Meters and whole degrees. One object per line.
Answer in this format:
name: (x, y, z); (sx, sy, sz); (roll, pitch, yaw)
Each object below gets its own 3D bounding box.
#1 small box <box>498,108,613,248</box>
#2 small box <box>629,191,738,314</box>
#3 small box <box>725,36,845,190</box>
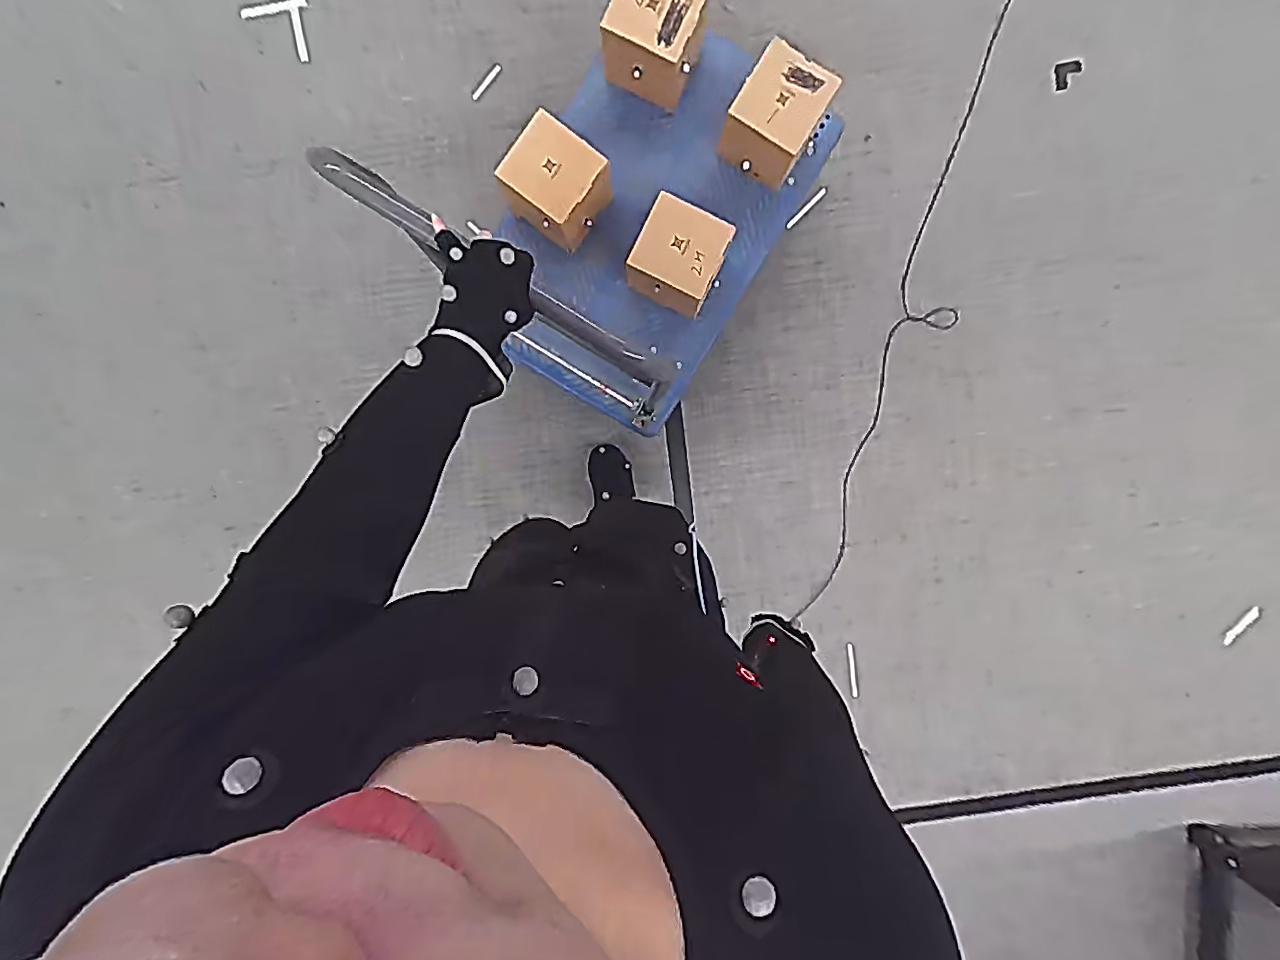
small box: (-0.175, -0.643, 1.178); (0.179, 0.176, 0.168); (37, 93, -3)
small box: (0.090, -0.485, 1.184); (0.179, 0.176, 0.168); (27, 94, -1)
small box: (0.299, -0.776, 1.164); (0.168, 0.176, 0.179); (33, 95, -1)
